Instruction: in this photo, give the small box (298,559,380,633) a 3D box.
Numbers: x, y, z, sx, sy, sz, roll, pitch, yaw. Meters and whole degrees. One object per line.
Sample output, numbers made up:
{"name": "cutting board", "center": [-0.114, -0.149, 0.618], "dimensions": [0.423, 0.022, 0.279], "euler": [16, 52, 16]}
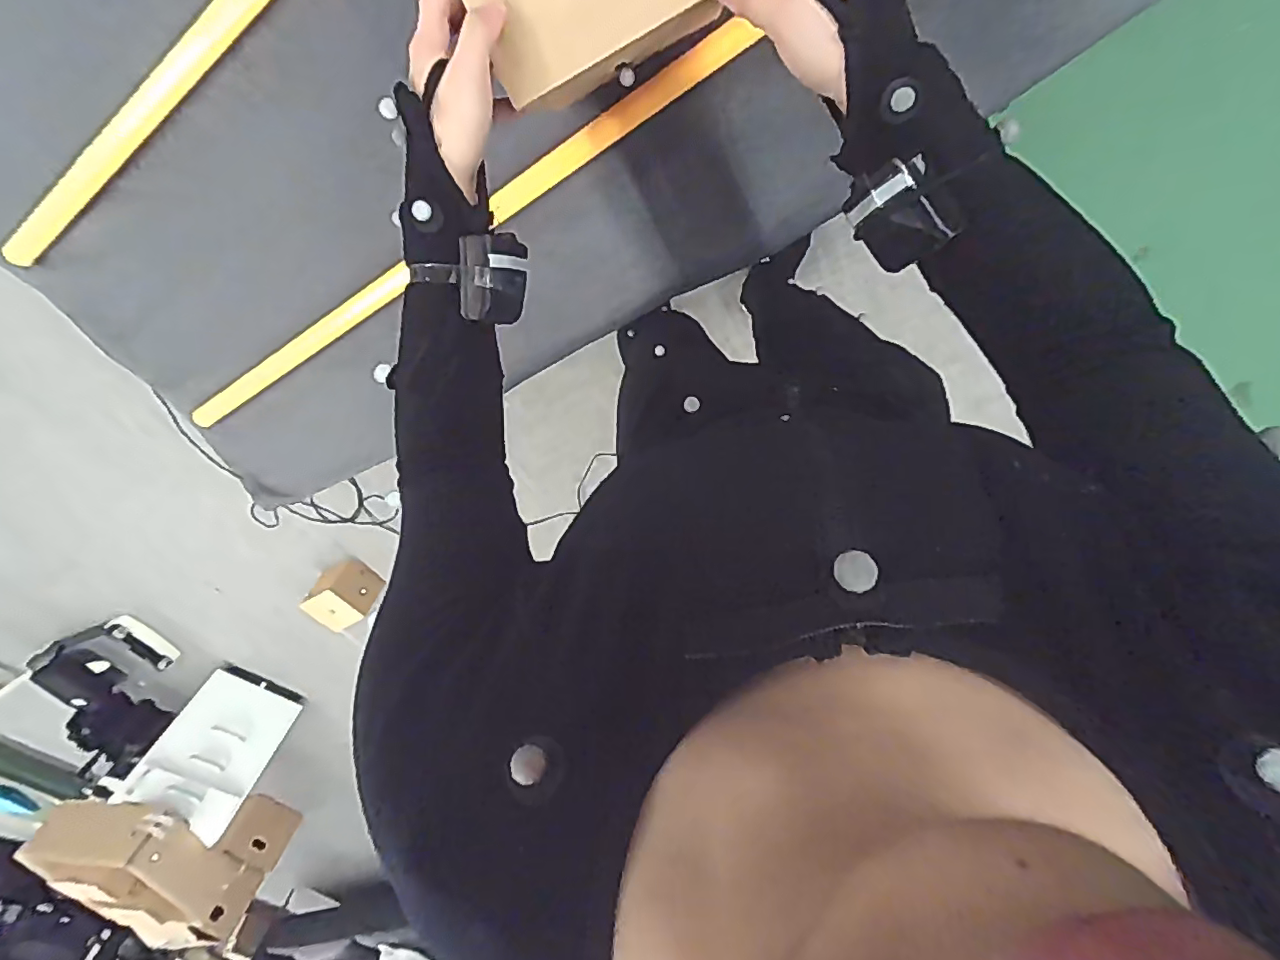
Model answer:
{"name": "small box", "center": [-1.078, 0.417, 1.959], "dimensions": [0.179, 0.176, 0.168], "euler": [-27, 119, 22]}
